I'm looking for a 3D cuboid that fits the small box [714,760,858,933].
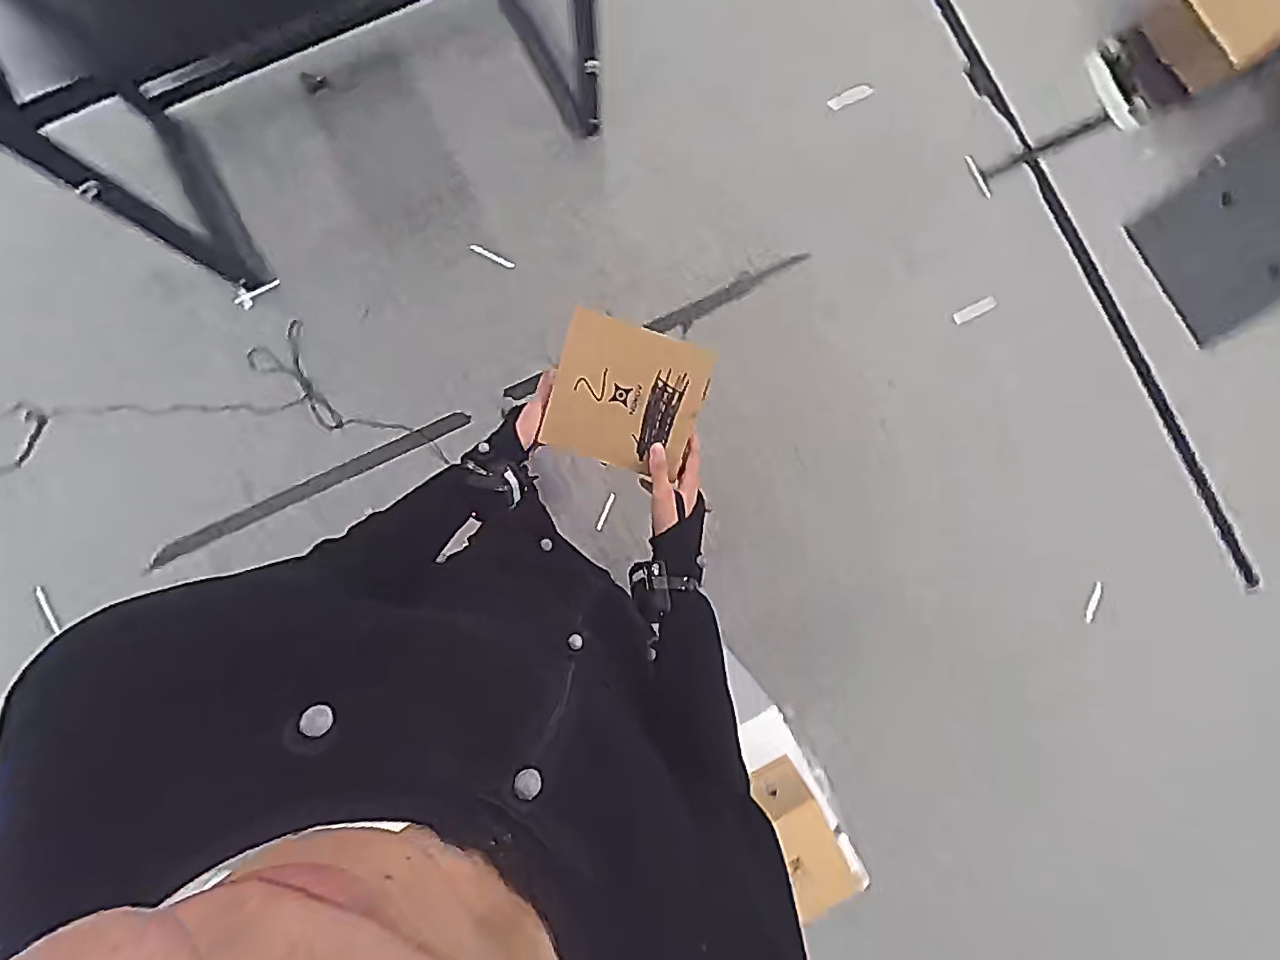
[{"bbox_3d":[0.253,0.644,0.983,0.168,0.176,0.179,-26,90,-4],"label":"small box"}]
